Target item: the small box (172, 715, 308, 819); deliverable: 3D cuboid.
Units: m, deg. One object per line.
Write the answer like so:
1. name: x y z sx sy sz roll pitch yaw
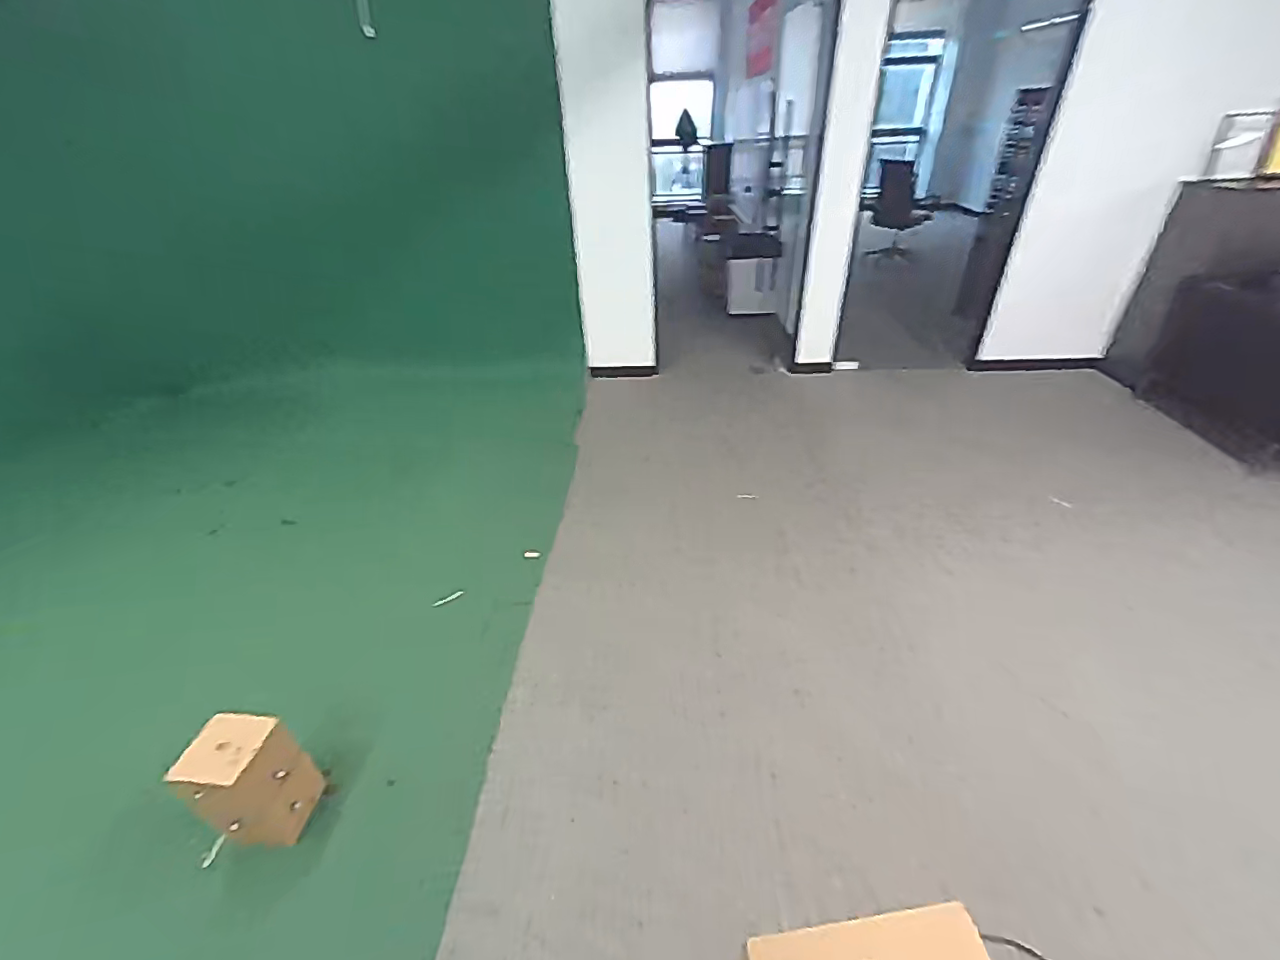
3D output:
1. small box: -0.973 0.708 1.333 0.179 0.176 0.168 2 35 7

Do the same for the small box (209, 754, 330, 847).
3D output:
1. small box: -0.964 0.843 1.428 0.179 0.176 0.168 0 34 6
